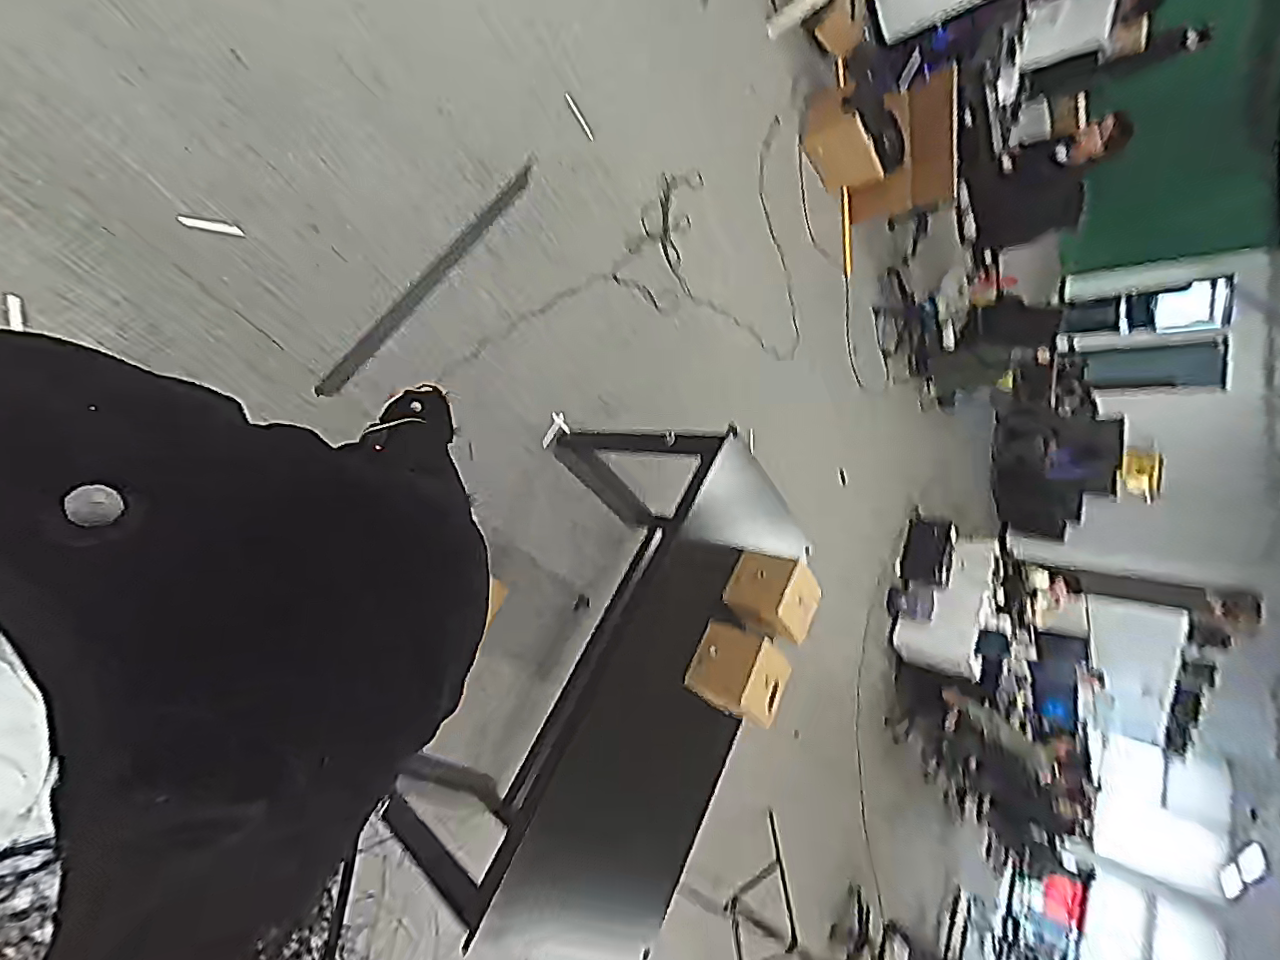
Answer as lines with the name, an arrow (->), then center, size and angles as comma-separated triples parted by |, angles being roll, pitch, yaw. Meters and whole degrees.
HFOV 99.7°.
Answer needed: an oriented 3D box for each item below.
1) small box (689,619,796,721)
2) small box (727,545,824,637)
small box -> 0.255, 0.467, 1.347 | 0.179, 0.176, 0.168 | 45, 63, -37
small box -> 0.359, 0.289, 1.435 | 0.179, 0.176, 0.168 | 50, 60, -36
